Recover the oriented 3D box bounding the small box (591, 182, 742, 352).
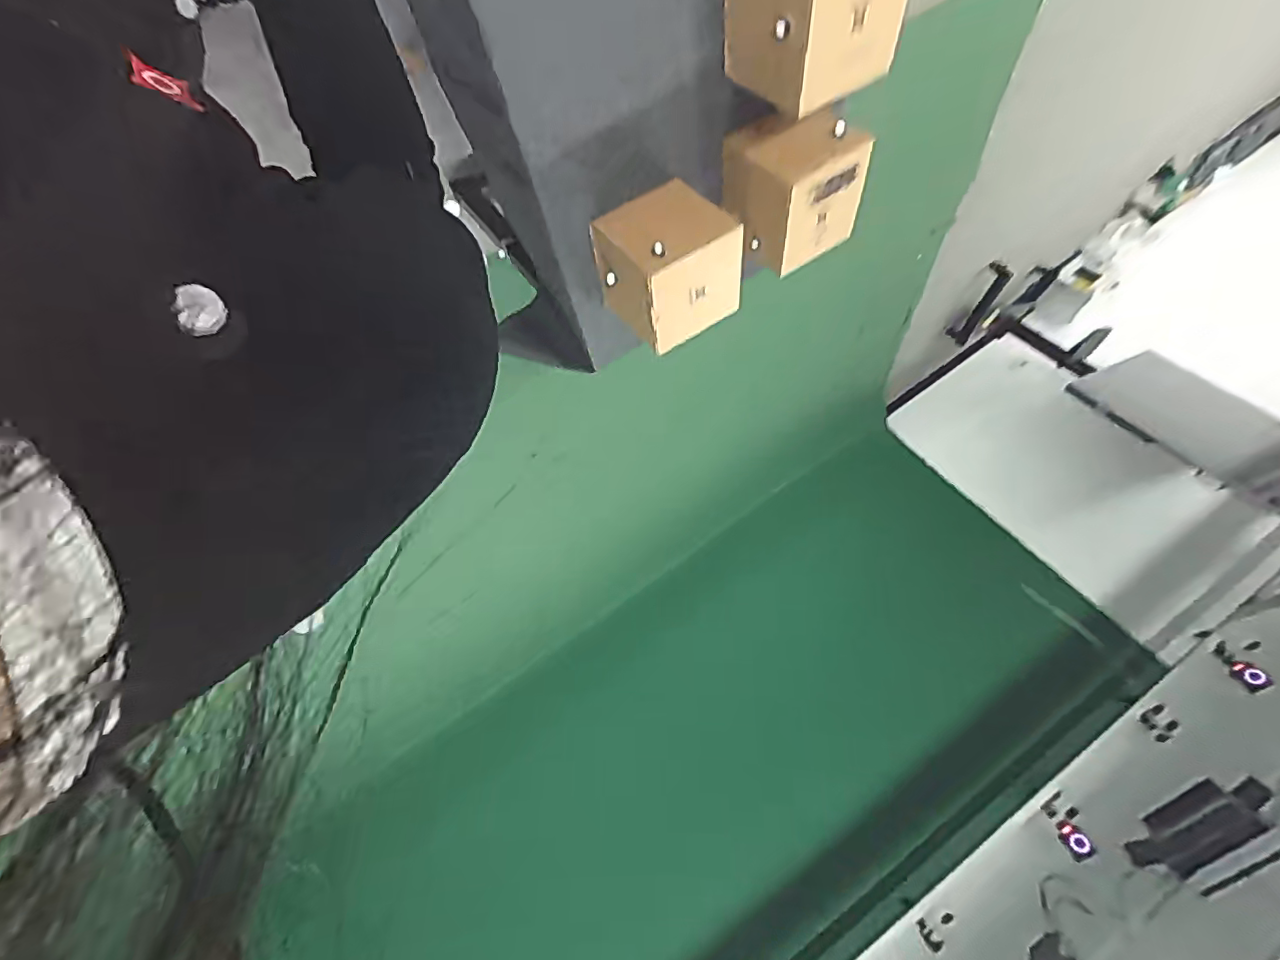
[{"bbox_3d":[0.044,-0.354,0.895,0.179,0.176,0.168,-33,152,-12],"label":"small box"}]
